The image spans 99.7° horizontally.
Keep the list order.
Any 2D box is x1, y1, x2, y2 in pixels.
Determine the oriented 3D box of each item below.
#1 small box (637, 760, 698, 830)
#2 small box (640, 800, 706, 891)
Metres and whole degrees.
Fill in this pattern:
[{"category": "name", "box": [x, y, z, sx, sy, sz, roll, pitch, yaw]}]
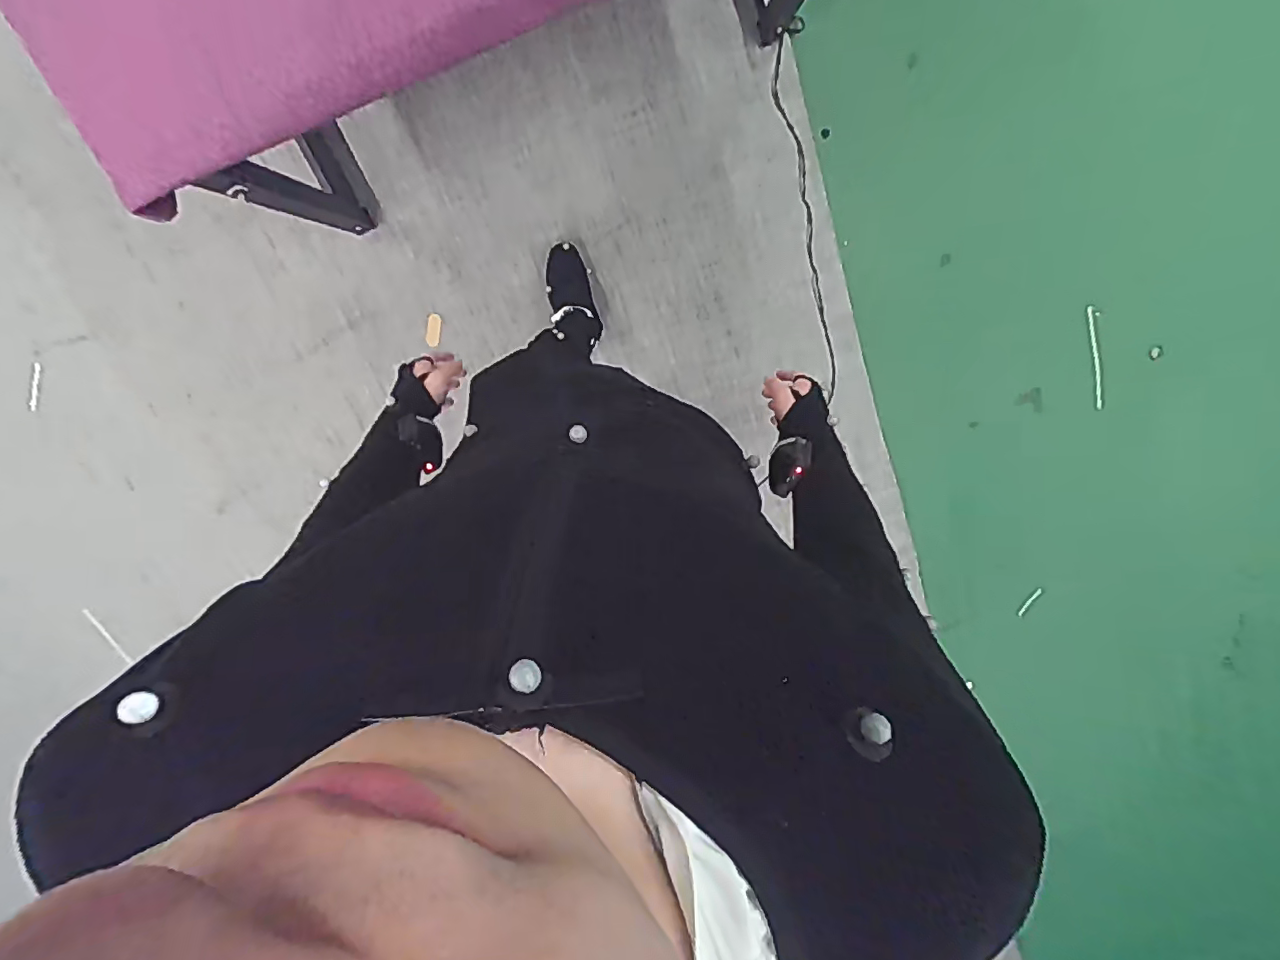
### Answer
[{"category": "small box", "box": [0.093, 1.140, 1.928, 0.179, 0.176, 0.168, -18, 108, 3]}, {"category": "small box", "box": [0.104, 1.192, 1.773, 0.179, 0.176, 0.168, -15, 107, 2]}]
